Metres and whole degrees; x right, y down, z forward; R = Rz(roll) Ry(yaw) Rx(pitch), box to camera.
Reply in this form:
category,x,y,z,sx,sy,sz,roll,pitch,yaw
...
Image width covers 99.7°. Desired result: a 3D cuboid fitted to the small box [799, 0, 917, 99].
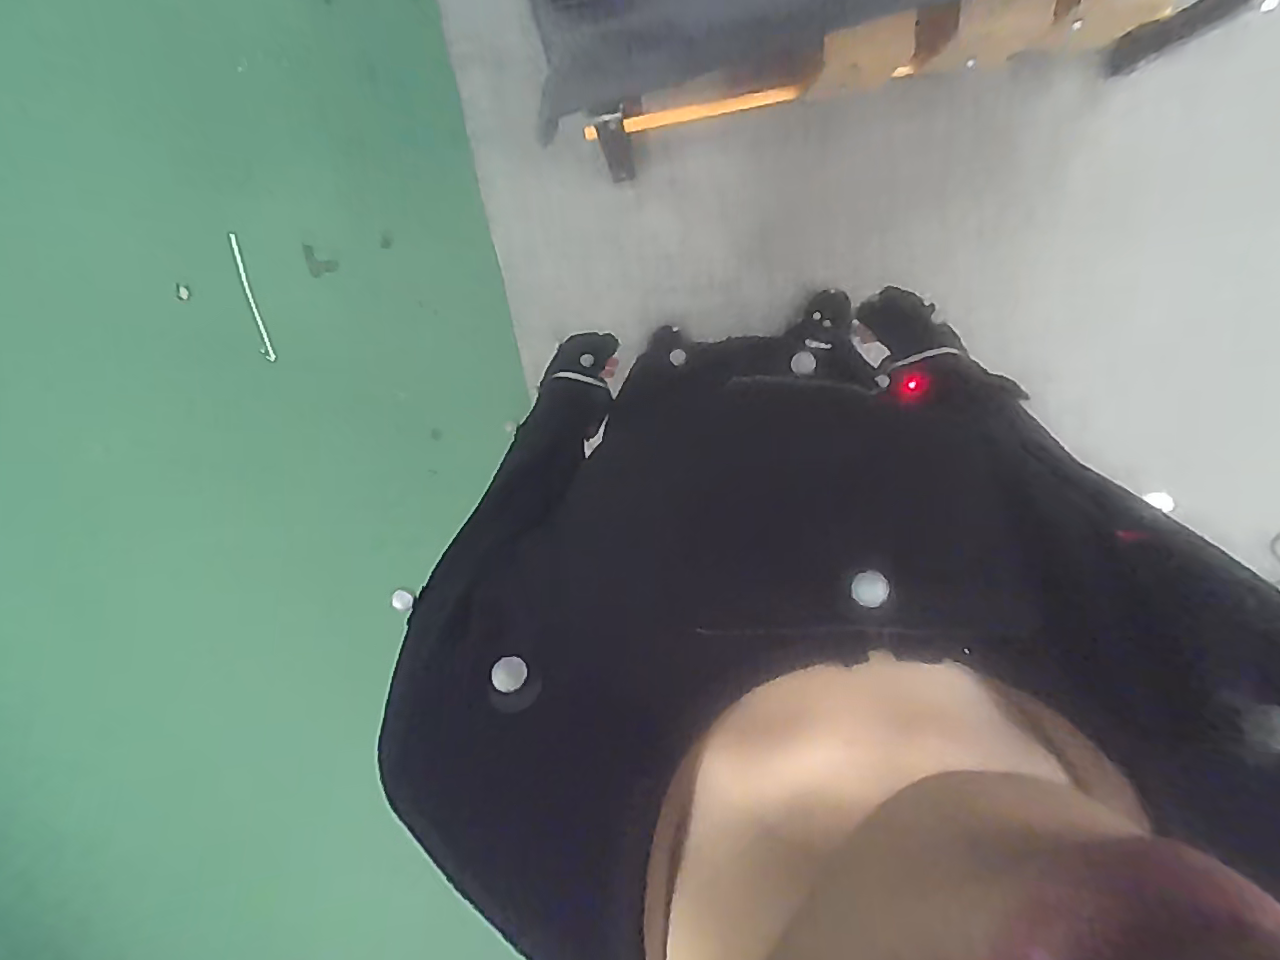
category,x,y,z,sx,sy,sz,roll,pitch,yaw
small box,0.408,-0.868,1.031,0.168,0.176,0.179,-7,108,4
